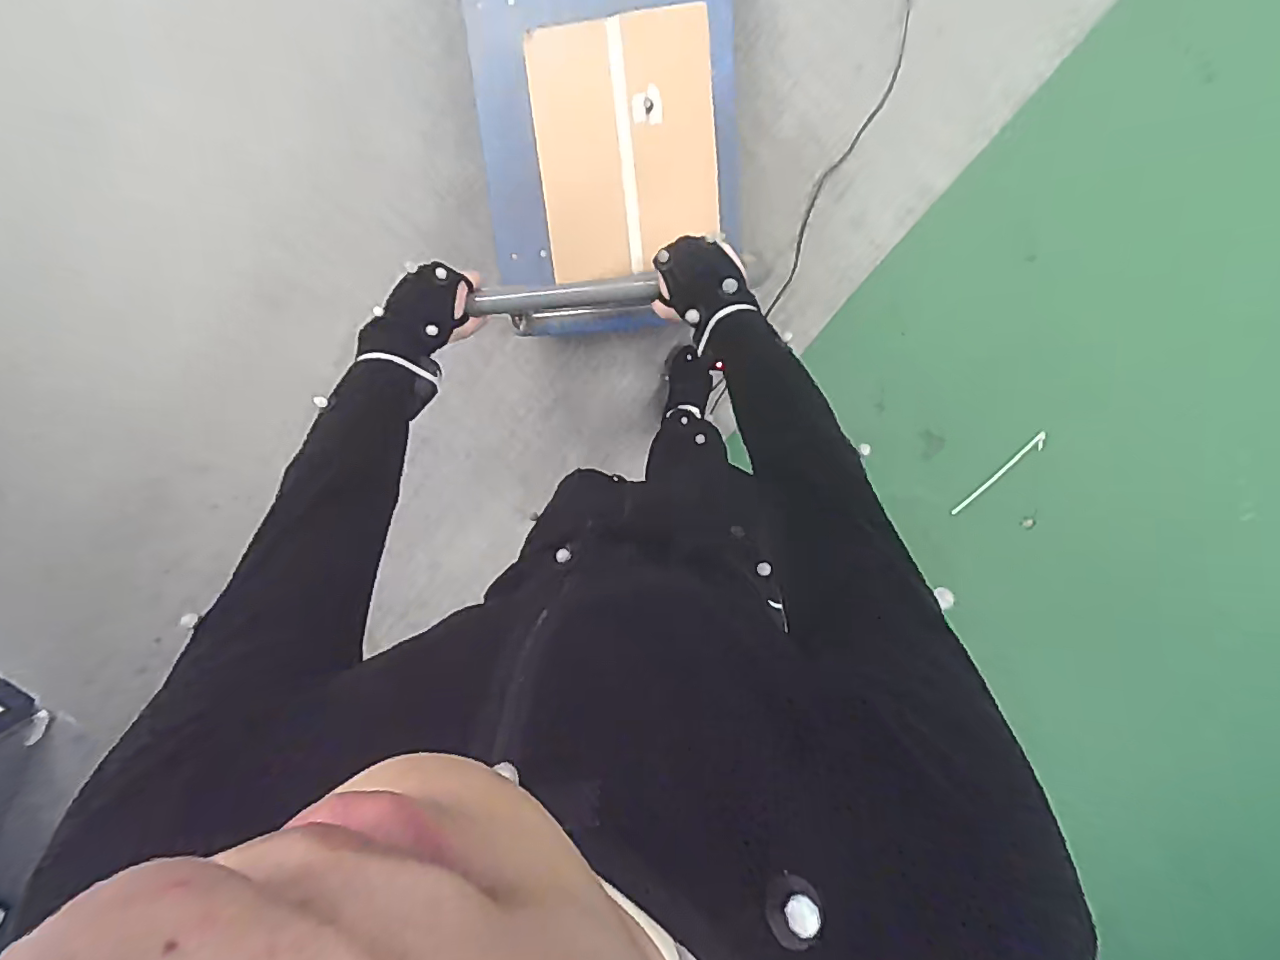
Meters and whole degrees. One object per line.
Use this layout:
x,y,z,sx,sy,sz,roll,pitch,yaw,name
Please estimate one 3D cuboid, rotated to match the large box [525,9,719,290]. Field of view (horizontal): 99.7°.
-0.014,-0.625,1.109,0.320,0.320,0.408,-4,106,5,large box
